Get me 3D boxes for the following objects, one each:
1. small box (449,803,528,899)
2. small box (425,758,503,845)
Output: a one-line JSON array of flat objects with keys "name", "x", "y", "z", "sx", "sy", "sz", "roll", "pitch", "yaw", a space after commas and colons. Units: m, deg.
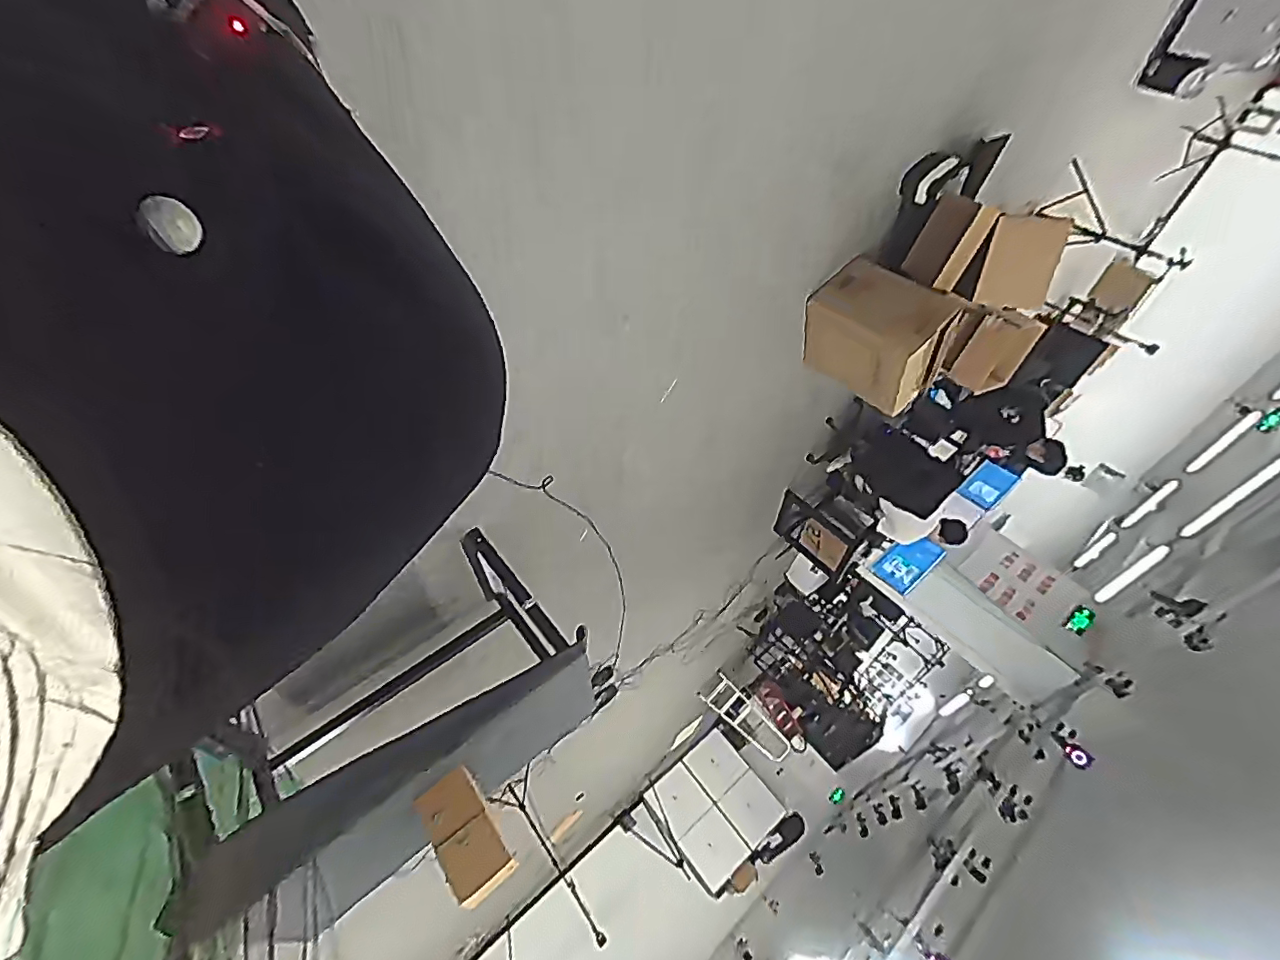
[{"name": "small box", "x": -0.473, "y": 1.147, "z": 1.675, "sx": 0.179, "sy": 0.176, "sz": 0.168, "roll": -31, "pitch": 148, "yaw": -25}, {"name": "small box", "x": -0.575, "y": 1.049, "z": 1.758, "sx": 0.179, "sy": 0.176, "sz": 0.168, "roll": -34, "pitch": 150, "yaw": -25}]
